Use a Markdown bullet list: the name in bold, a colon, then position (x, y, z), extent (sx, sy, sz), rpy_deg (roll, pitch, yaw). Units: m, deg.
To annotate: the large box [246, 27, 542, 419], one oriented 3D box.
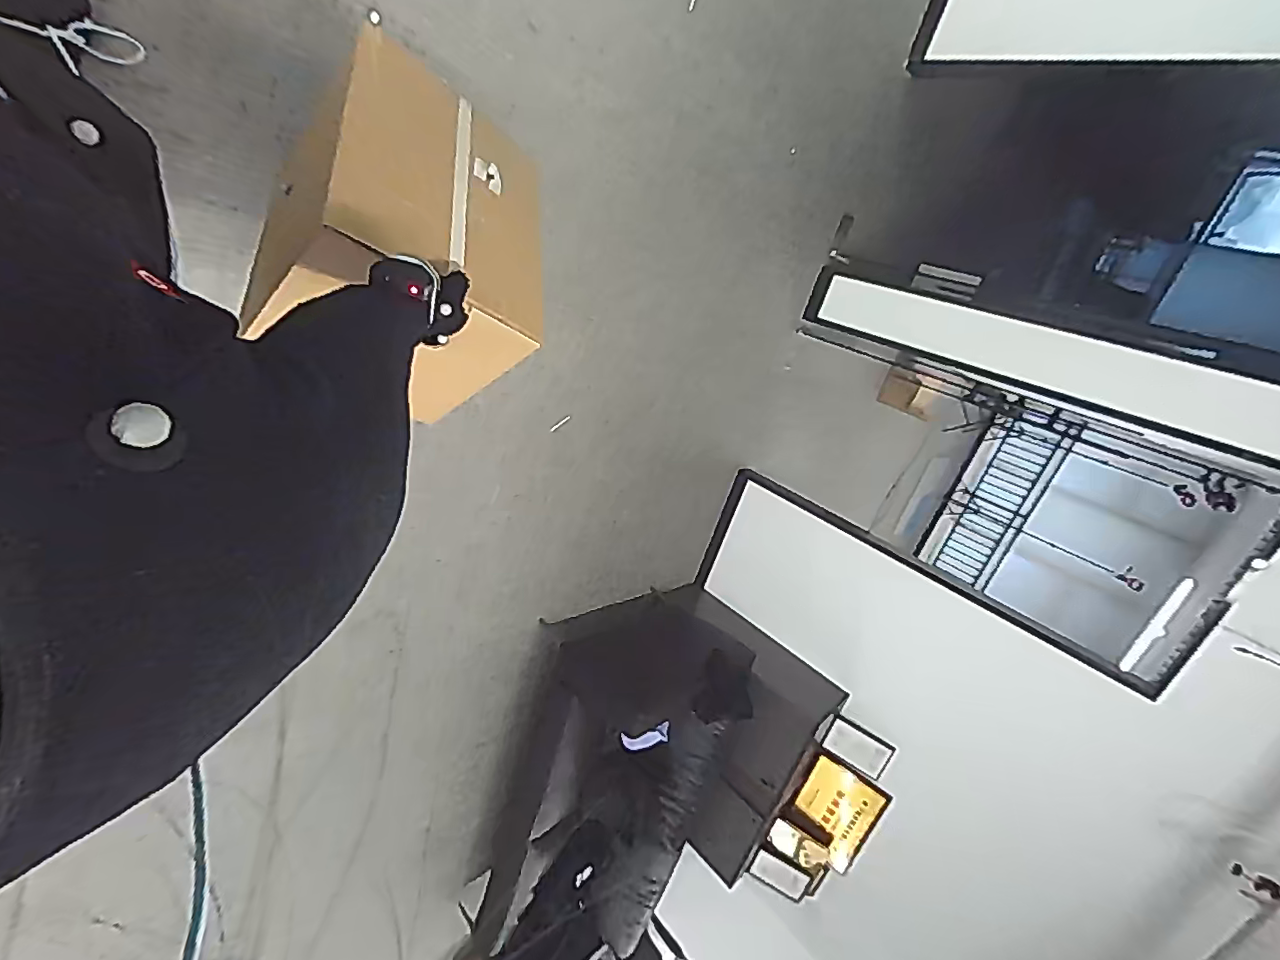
- **large box**: position (-0.381, -0.368, 0.870), extent (0.320, 0.408, 0.320), rpy_deg (-24, 151, 34)
